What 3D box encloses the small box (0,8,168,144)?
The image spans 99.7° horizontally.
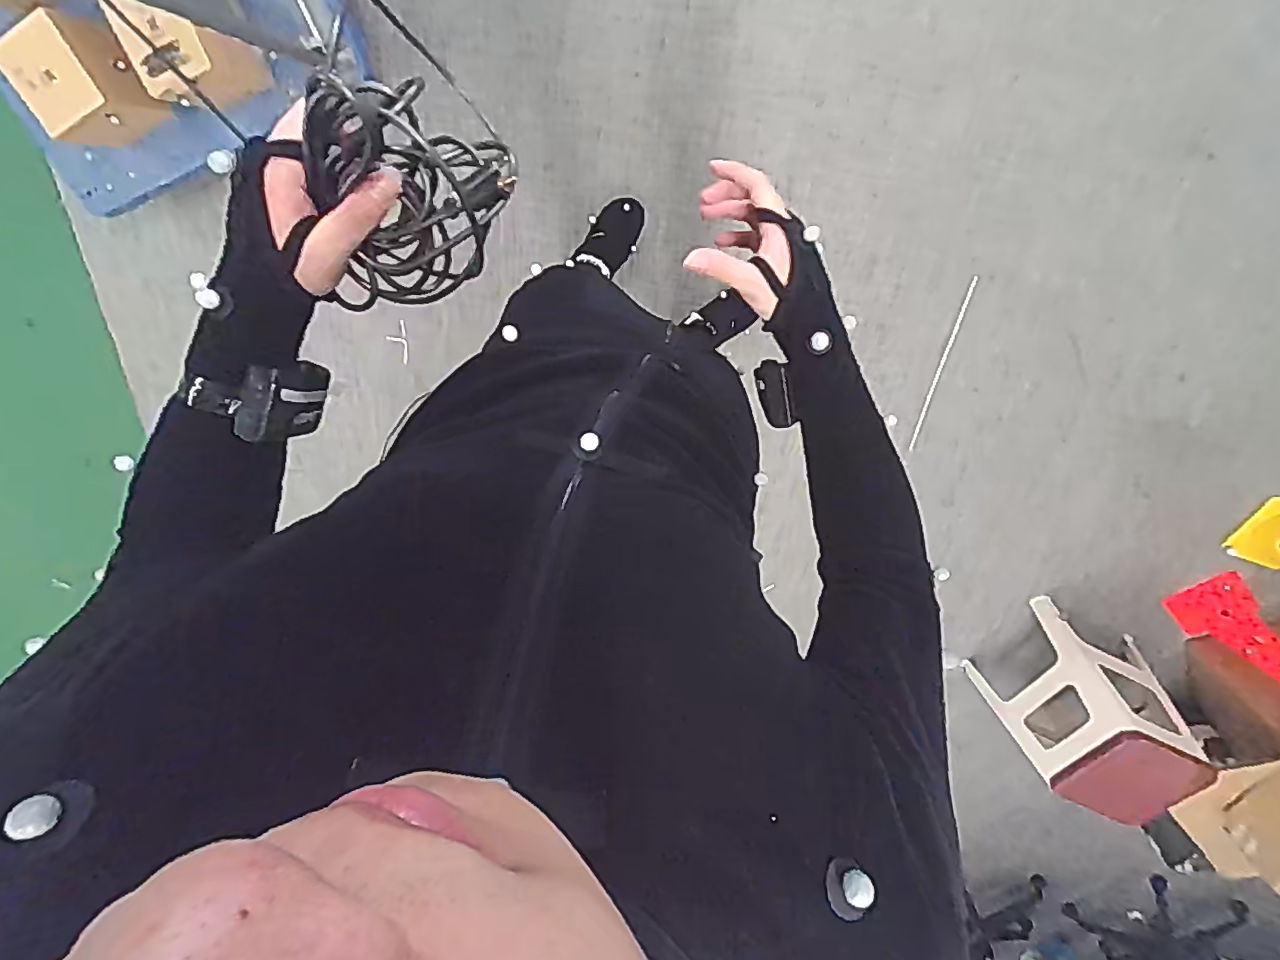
[{"bbox_3d":[-1.167,-0.842,1.146,0.179,0.176,0.168,-17,114,16],"label":"small box"}]
